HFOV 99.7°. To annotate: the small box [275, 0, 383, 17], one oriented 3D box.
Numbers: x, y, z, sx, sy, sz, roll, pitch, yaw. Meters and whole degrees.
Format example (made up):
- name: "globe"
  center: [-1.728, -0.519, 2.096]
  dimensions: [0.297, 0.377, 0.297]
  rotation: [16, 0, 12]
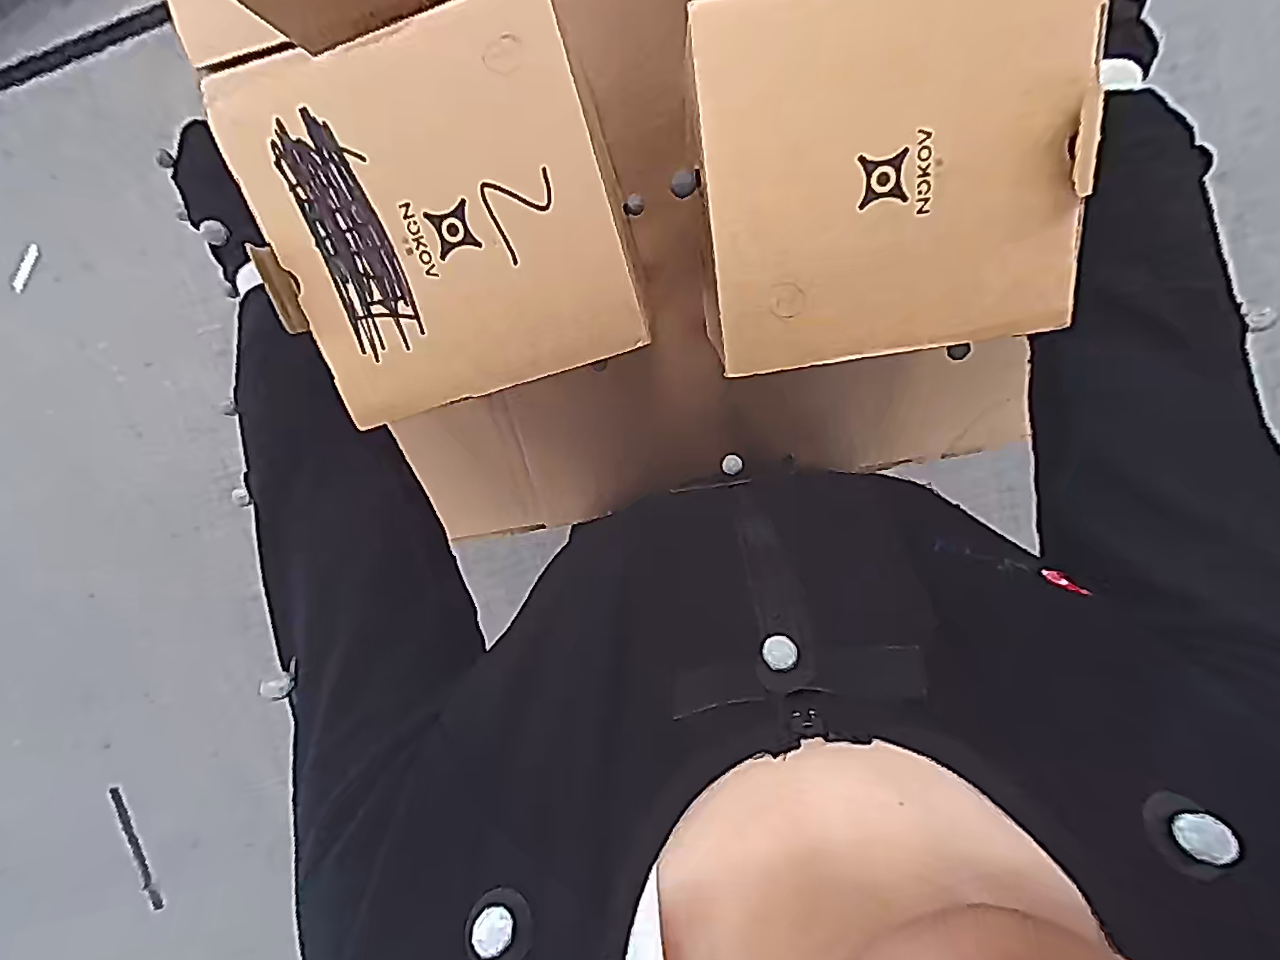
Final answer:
- name: "small box"
  center: [-0.181, -0.383, 0.273]
  dimensions: [0.168, 0.176, 0.179]
  rotation: [-12, 106, 7]
